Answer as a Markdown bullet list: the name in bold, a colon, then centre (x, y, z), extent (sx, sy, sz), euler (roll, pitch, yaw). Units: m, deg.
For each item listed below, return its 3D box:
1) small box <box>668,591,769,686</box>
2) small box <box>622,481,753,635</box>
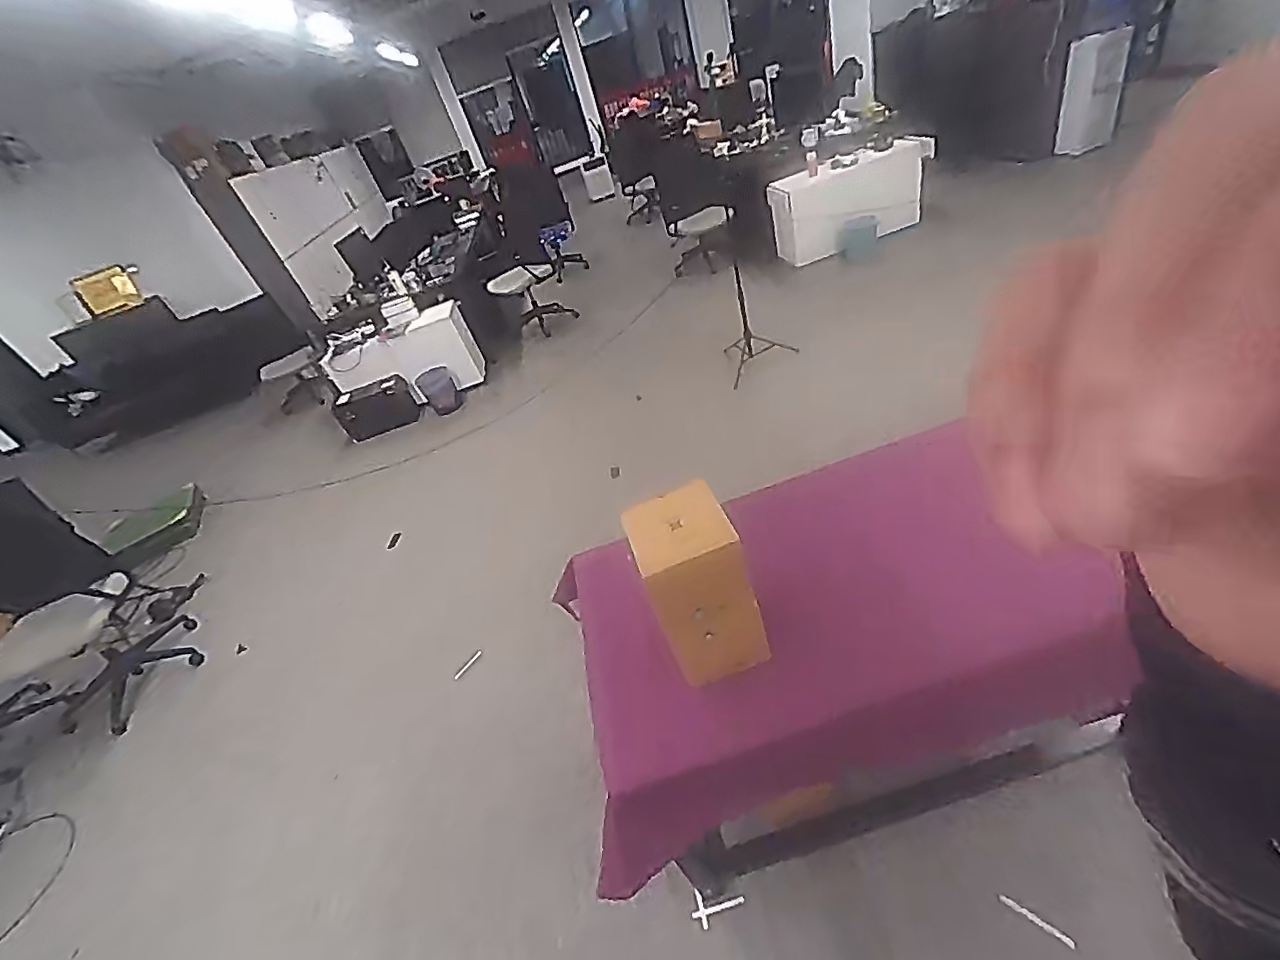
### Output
- **small box**: centre (0.134, 0.259, 1.045), extent (0.168, 0.176, 0.179), euler (-21, 36, 0)
- **small box**: centre (0.082, 0.137, 0.950), extent (0.168, 0.176, 0.179), euler (-22, 37, -1)
